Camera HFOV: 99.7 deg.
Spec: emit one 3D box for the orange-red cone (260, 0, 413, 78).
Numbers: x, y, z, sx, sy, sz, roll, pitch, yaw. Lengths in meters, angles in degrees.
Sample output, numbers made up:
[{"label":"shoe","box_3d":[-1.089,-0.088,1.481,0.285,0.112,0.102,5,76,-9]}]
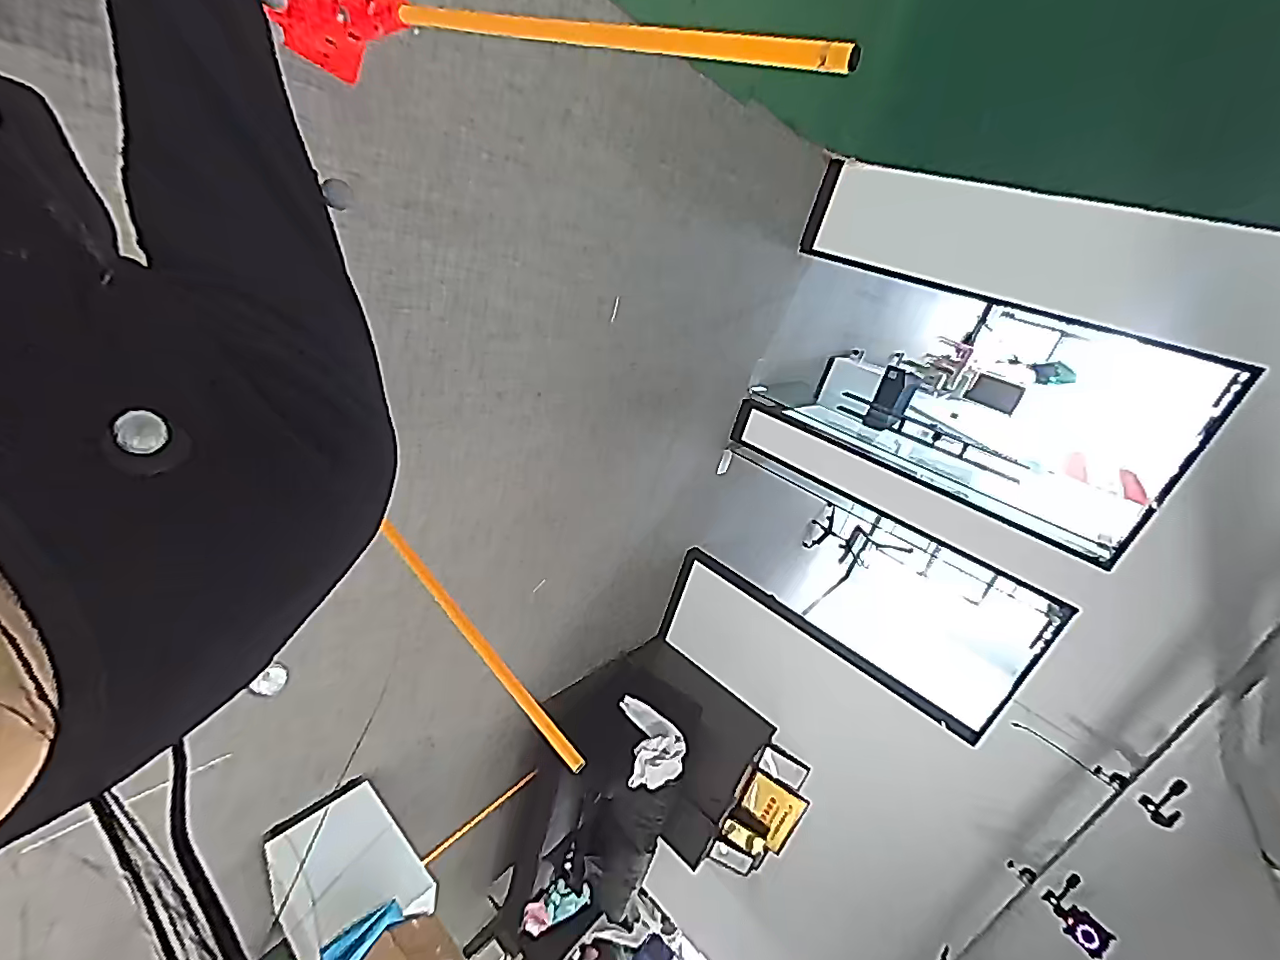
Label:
[{"label":"orange-red cone","box_3d":[-0.543,-0.914,1.043,0.198,0.360,0.199,3,116,-56]}]
